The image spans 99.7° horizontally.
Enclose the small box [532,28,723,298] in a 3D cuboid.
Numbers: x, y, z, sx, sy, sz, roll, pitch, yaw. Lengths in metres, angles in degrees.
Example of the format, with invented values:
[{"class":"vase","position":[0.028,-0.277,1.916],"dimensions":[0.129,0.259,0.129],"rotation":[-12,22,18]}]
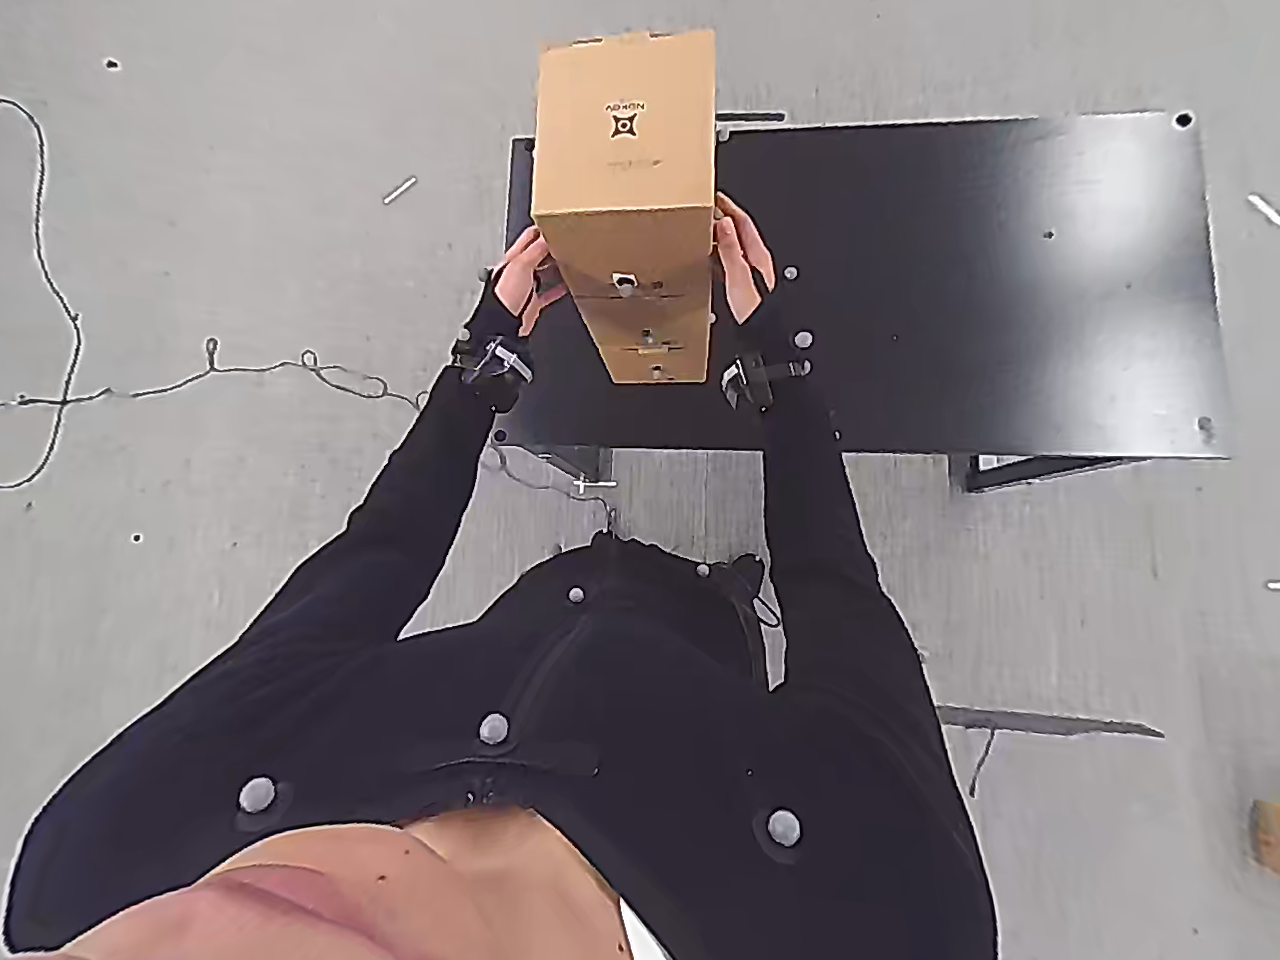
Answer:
[{"class":"small box","position":[-0.003,-0.309,0.557],"dimensions":[0.168,0.176,0.179],"rotation":[1,83,7]}]

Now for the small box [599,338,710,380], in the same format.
[{"class":"small box","position":[0.031,-0.266,0.880],"dimensions":[0.168,0.176,0.179],"rotation":[0,83,6]}]

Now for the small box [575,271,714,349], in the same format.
[{"class":"small box","position":[0.014,-0.289,0.718],"dimensions":[0.168,0.176,0.179],"rotation":[1,83,6]}]
